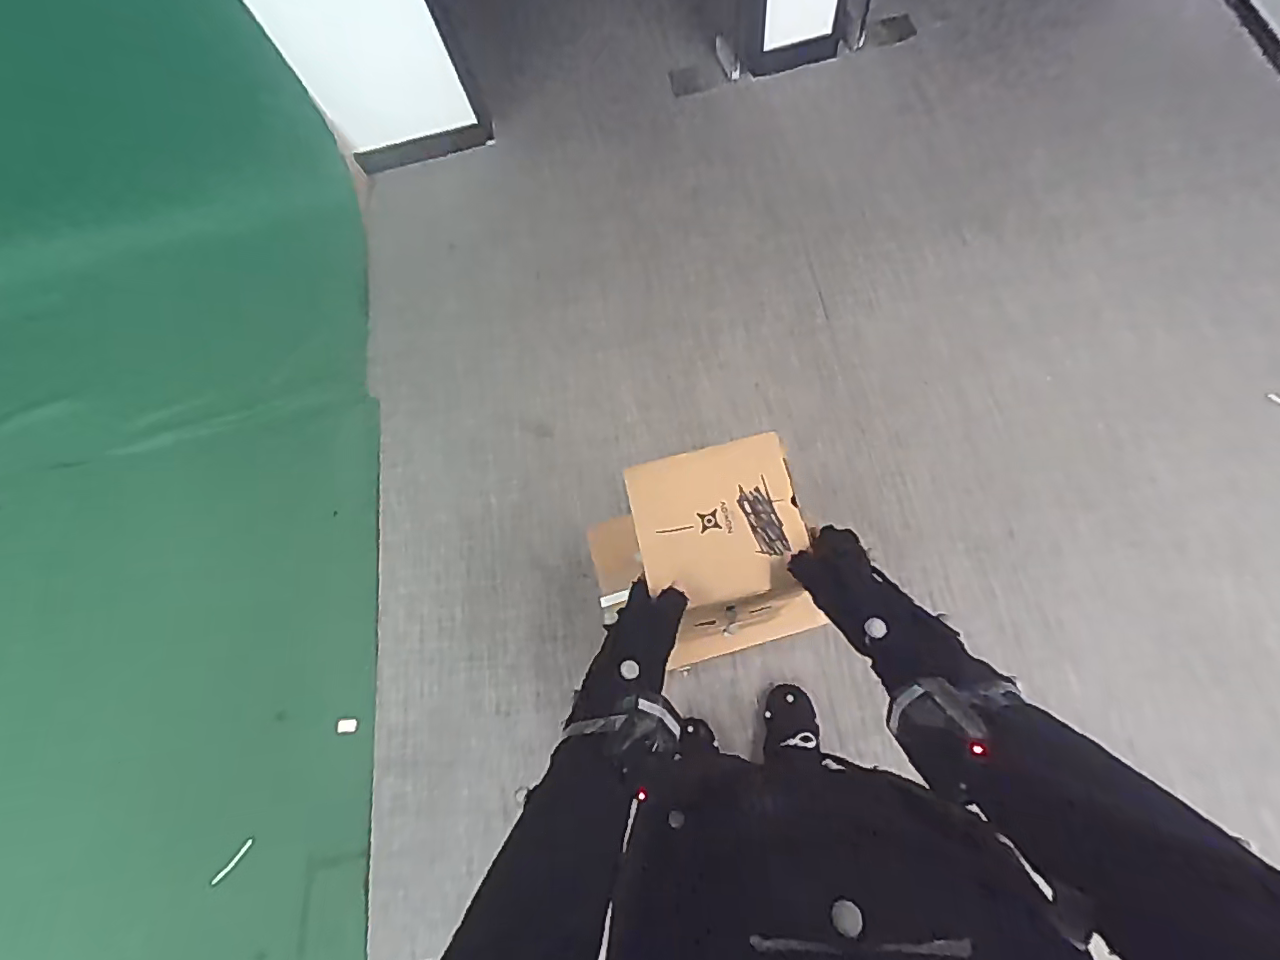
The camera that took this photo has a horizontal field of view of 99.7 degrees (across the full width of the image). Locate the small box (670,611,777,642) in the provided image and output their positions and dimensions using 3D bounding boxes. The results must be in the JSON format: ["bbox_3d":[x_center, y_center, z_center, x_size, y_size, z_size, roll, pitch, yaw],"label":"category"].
[{"bbox_3d":[0.125,0.182,0.945,0.179,0.176,0.168,-15,71,1],"label":"small box"}]

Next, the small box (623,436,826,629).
[{"bbox_3d":[0.090,0.071,0.637,0.179,0.176,0.168,-16,71,0],"label":"small box"}]

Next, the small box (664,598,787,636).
[{"bbox_3d":[0.104,0.124,0.793,0.168,0.176,0.179,-15,71,3],"label":"small box"}]
